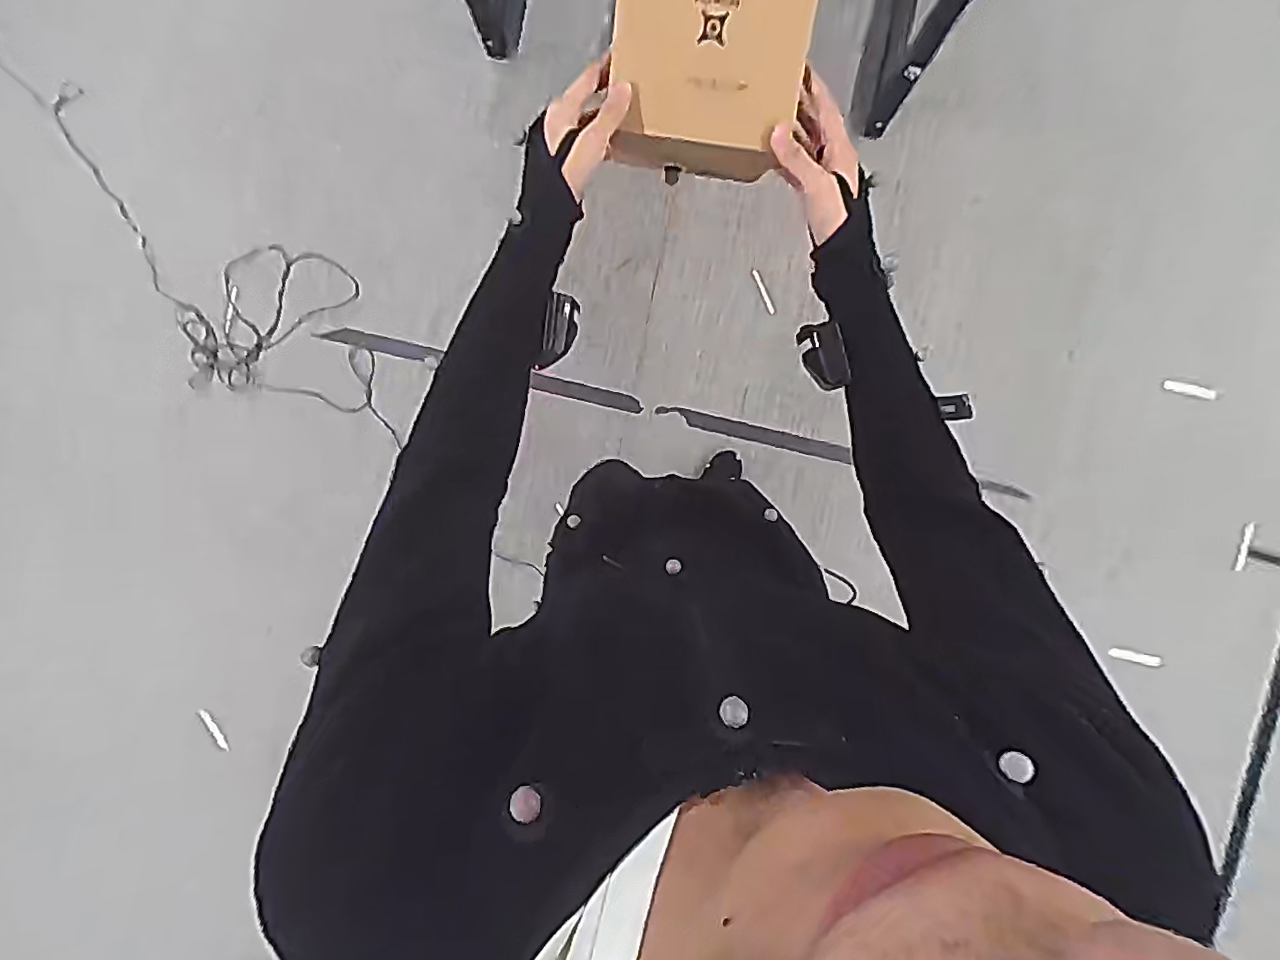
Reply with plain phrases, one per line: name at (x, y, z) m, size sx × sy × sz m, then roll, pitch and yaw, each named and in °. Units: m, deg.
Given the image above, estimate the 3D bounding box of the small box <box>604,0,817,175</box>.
small box at (0.060, -0.407, 0.506) m, size 0.168 × 0.176 × 0.179 m, roll 7°, pitch 111°, yaw -1°
